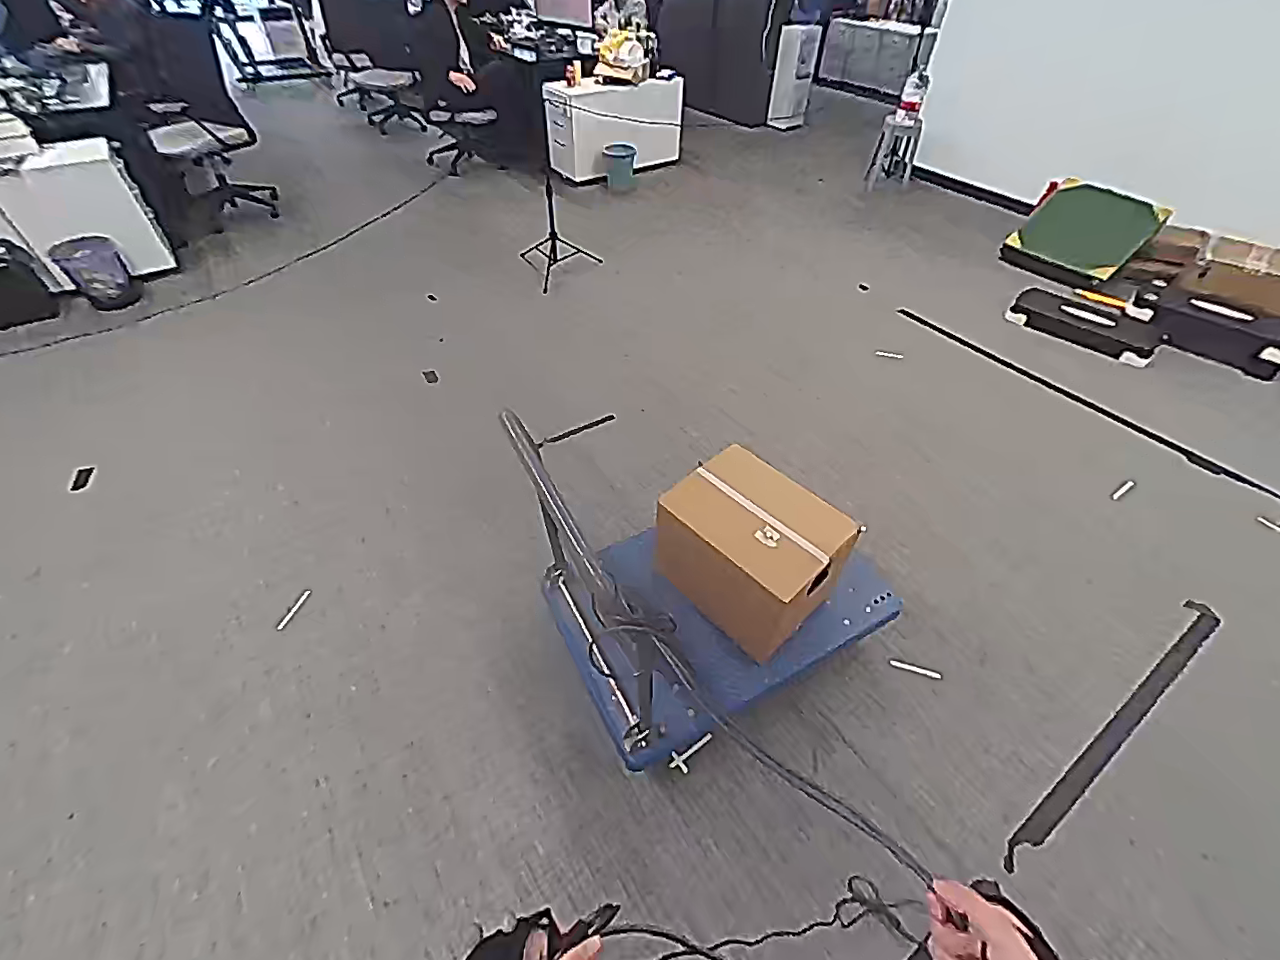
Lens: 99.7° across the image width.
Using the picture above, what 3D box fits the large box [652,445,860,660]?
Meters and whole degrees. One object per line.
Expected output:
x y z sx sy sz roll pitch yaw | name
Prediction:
0.281 0.184 1.430 0.320 0.320 0.408 -35 58 -28 | large box
